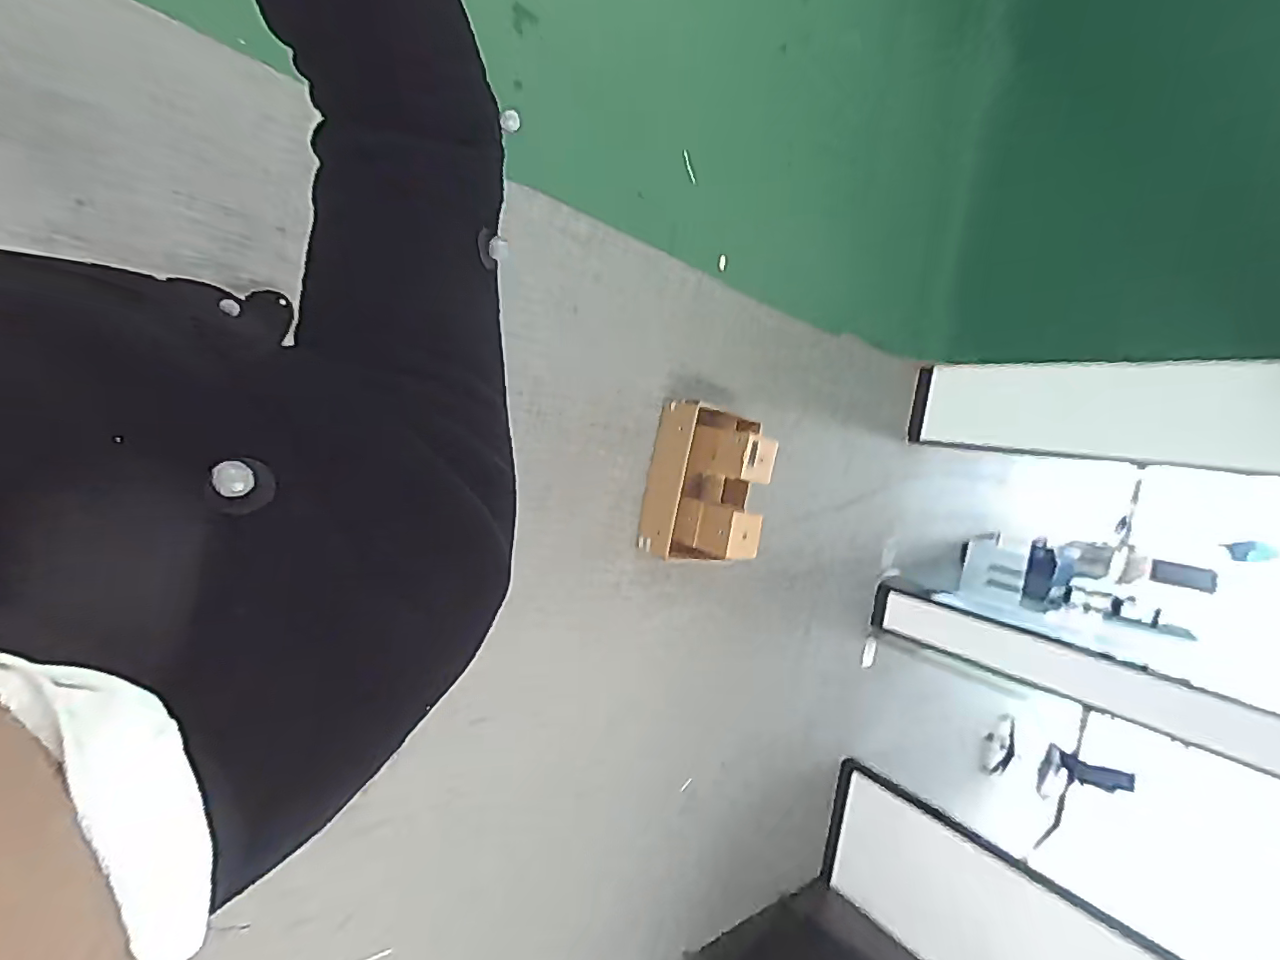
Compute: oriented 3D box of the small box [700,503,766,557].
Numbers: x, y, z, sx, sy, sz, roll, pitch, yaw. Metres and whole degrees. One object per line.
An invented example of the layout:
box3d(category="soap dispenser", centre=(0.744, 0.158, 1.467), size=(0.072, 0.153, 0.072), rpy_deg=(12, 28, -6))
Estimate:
box3d(category="small box", centre=(0.349, 0.186, 2.050), size=(0.168, 0.176, 0.179), rpy_deg=(7, 95, -37))
